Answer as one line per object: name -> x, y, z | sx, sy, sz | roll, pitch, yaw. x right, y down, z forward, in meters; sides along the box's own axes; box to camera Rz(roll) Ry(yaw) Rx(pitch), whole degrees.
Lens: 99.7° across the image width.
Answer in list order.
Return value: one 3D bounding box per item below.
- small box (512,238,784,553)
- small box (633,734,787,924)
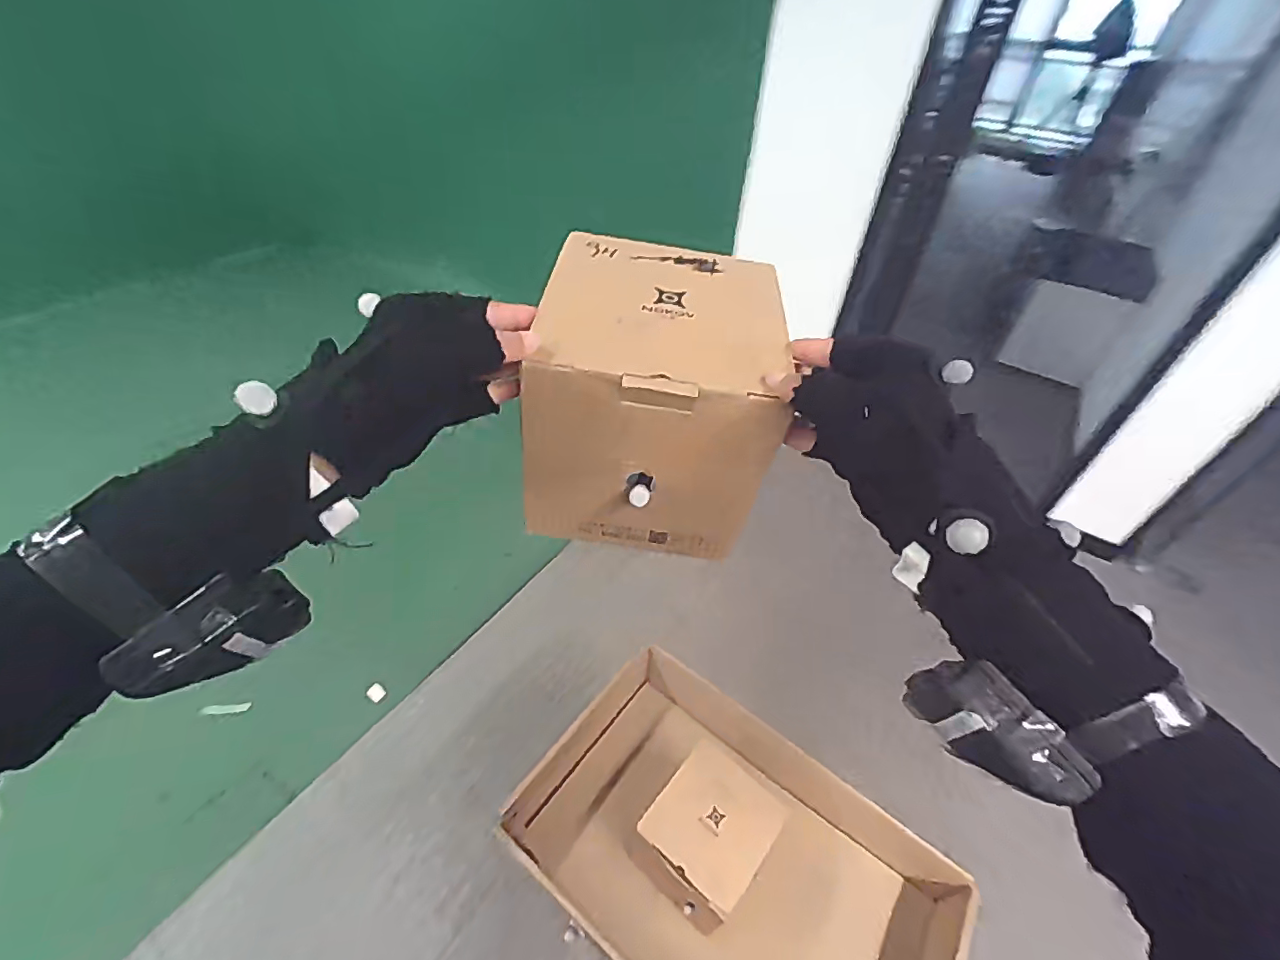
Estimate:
small box -> 0.003, -0.062, 0.430 | 0.168, 0.176, 0.179 | 8, 48, -3
small box -> 0.103, 0.557, 0.862 | 0.168, 0.176, 0.179 | 34, 49, 24
